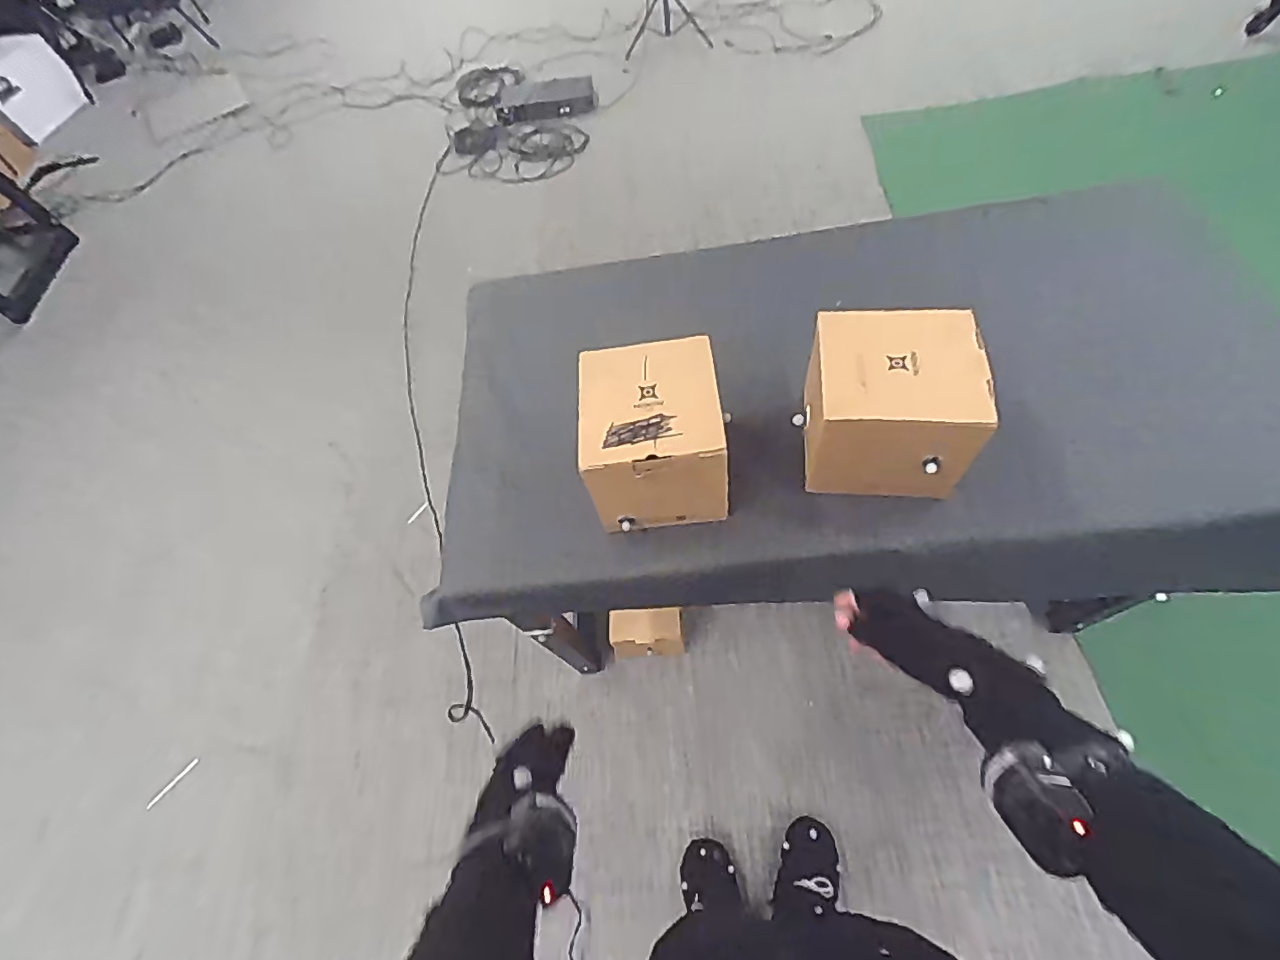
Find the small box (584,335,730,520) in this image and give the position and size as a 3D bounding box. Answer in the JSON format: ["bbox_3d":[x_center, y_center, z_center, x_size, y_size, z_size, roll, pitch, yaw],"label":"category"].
[{"bbox_3d":[0.027,-0.058,0.702,0.168,0.176,0.179,-6,59,6],"label":"small box"}]

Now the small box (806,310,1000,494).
[{"bbox_3d":[0.311,-0.092,0.679,0.179,0.176,0.168,3,62,12],"label":"small box"}]
